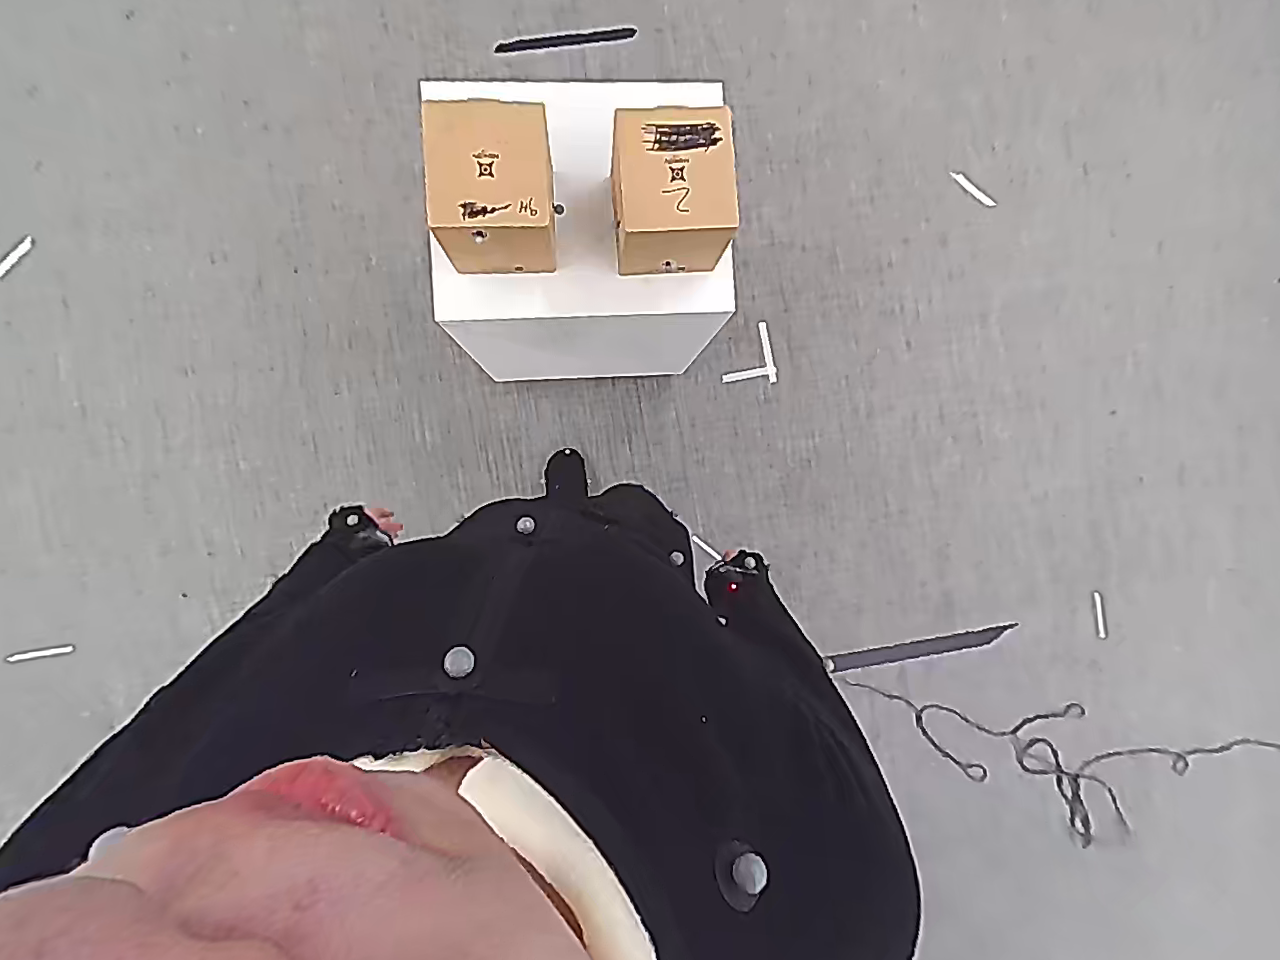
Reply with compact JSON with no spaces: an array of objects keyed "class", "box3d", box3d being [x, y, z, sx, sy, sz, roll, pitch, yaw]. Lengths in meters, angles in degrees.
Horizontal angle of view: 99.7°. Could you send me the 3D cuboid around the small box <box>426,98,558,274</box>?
[{"class":"small box","box3d":[-0.213,-0.431,0.814,0.168,0.176,0.179,-2,89,-4]}]
